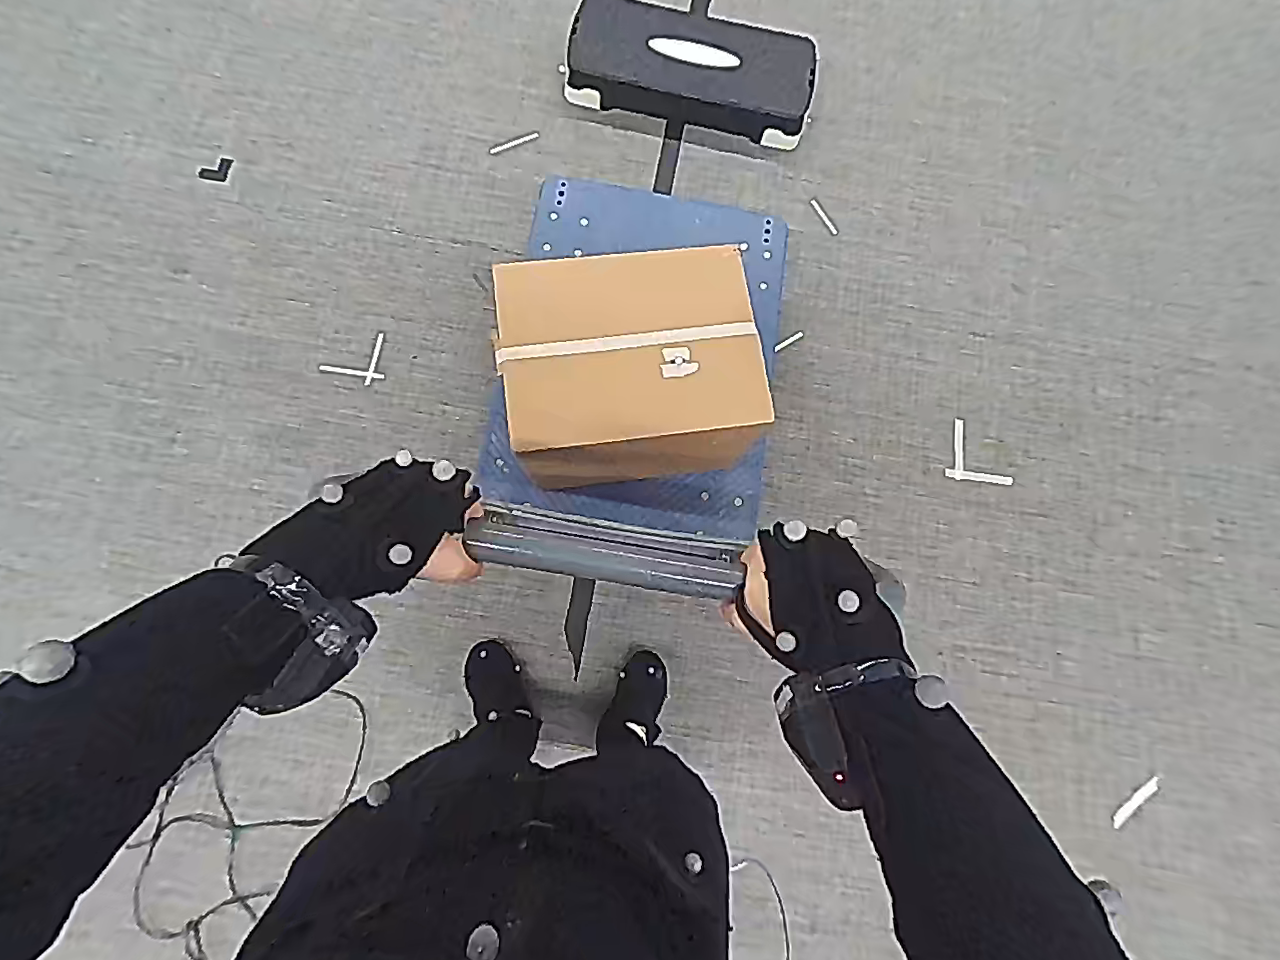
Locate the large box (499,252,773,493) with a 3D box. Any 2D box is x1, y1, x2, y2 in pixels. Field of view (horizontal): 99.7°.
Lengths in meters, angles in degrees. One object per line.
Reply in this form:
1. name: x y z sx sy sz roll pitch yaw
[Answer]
1. large box: -0.022 -0.176 0.996 0.408 0.320 0.320 -7 79 -7
